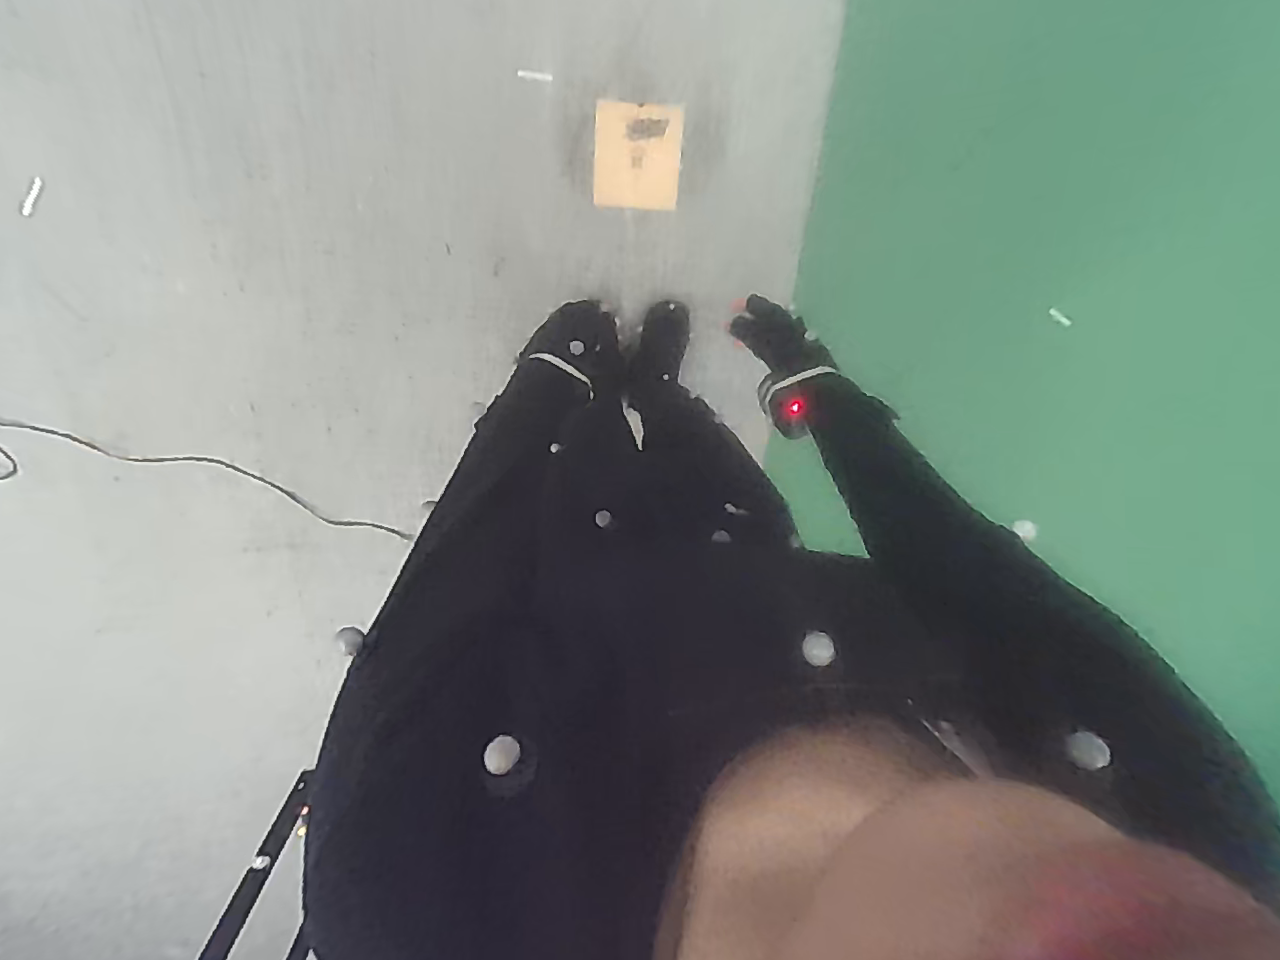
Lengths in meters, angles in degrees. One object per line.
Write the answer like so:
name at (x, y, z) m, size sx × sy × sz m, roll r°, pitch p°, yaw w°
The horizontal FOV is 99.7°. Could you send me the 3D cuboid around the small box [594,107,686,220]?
small box at (-0.008, -0.634, 1.101) m, size 0.168 × 0.176 × 0.179 m, roll 2°, pitch 116°, yaw -5°
